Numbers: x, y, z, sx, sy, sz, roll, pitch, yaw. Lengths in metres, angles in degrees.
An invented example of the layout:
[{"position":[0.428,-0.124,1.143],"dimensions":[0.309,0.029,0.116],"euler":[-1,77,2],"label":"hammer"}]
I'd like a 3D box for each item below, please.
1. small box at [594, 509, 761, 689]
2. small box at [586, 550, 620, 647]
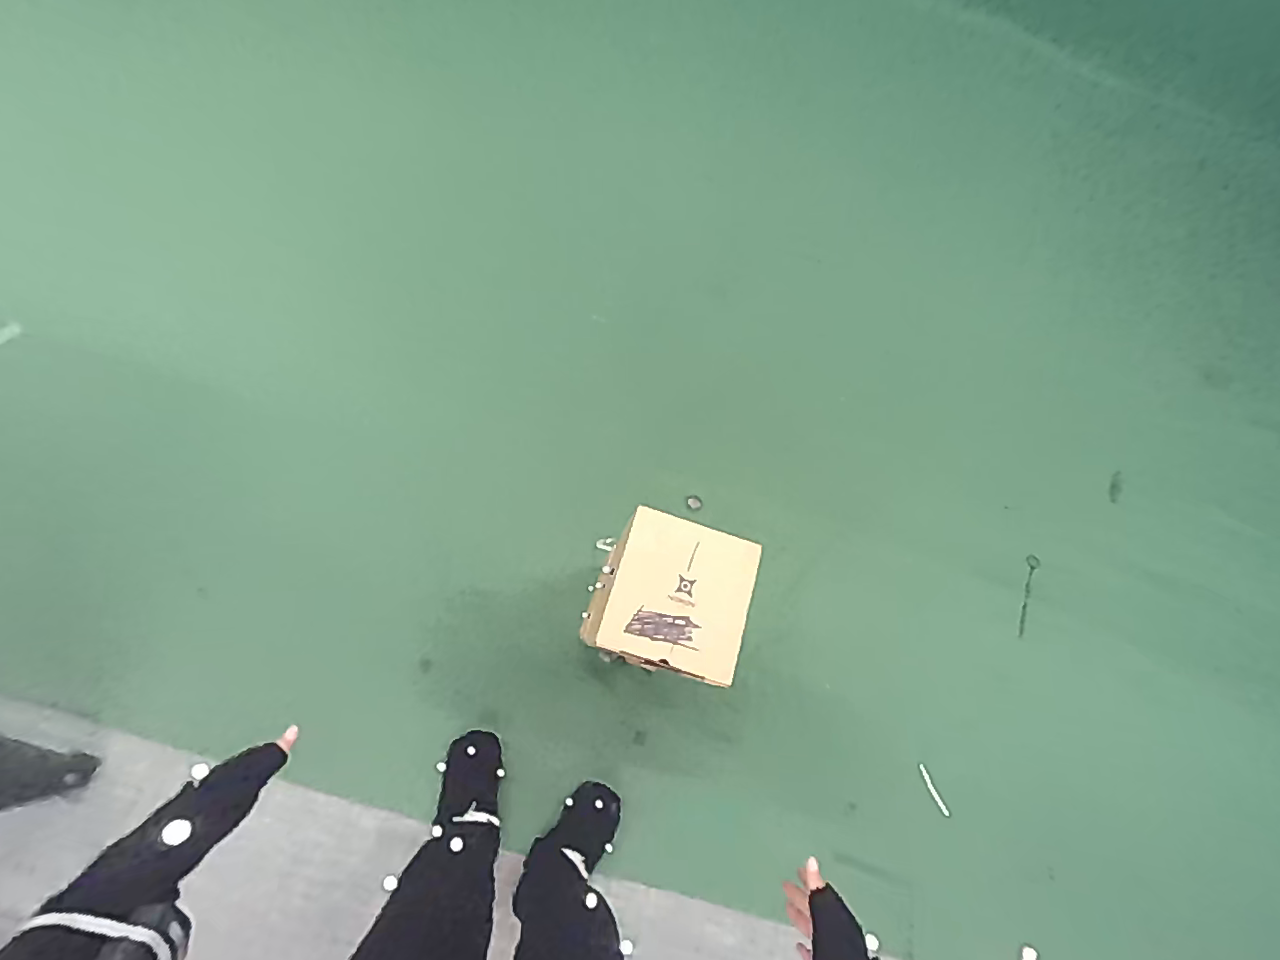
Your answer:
[{"position":[0.040,0.163,0.722],"dimensions":[0.168,0.176,0.179],"euler":[19,70,-3],"label":"small box"},{"position":[-0.002,0.251,1.037],"dimensions":[0.168,0.176,0.179],"euler":[18,72,-3],"label":"small box"}]
